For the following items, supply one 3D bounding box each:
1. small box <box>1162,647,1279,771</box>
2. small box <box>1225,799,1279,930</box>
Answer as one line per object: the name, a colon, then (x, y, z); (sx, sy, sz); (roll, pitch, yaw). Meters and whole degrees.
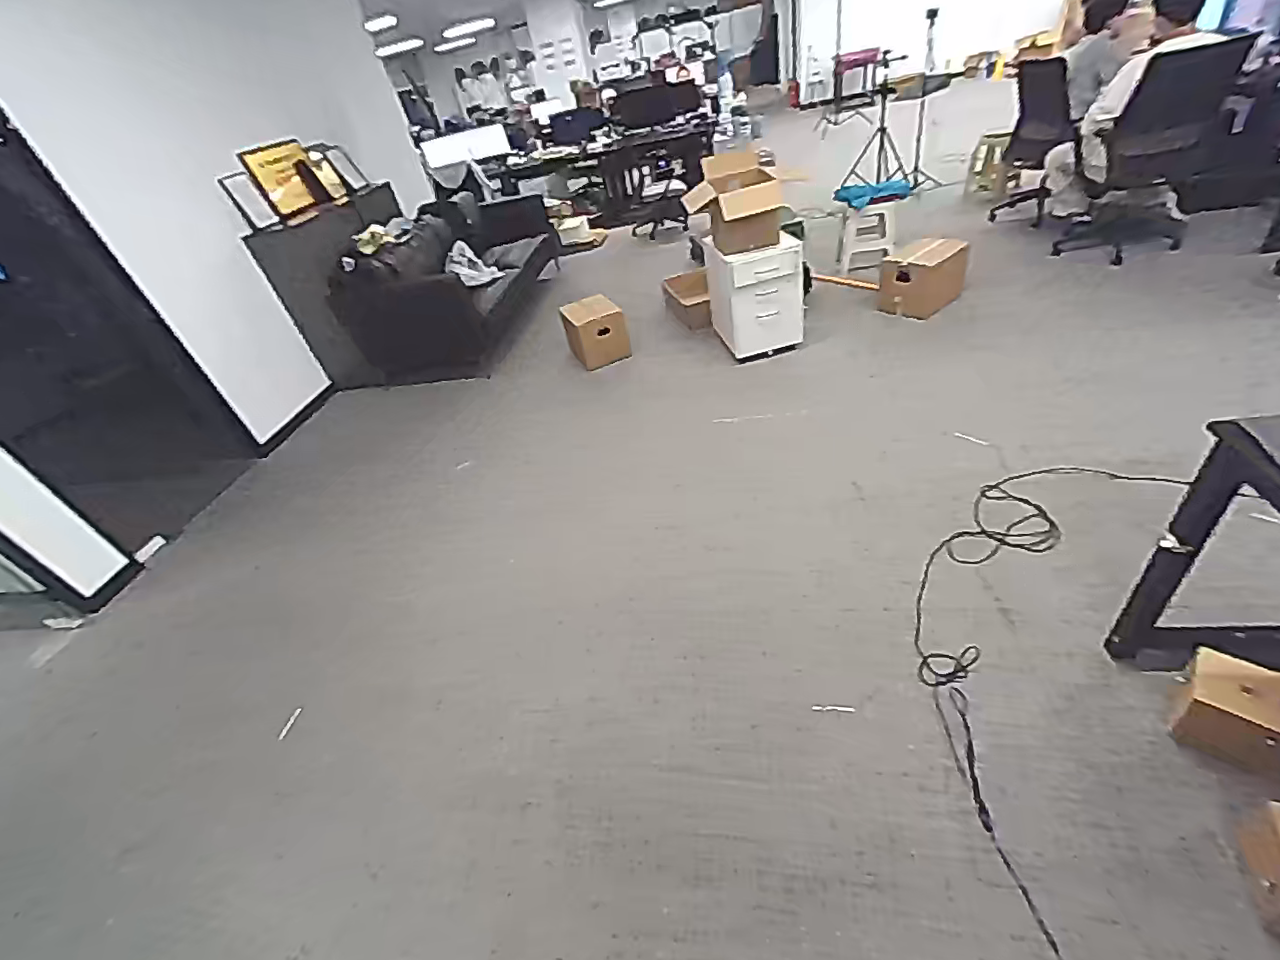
small box: (1.365, 0.533, 1.257); (0.179, 0.176, 0.168); (21, 49, 37)
small box: (1.267, 0.746, 1.010); (0.168, 0.176, 0.179); (6, 39, 23)
